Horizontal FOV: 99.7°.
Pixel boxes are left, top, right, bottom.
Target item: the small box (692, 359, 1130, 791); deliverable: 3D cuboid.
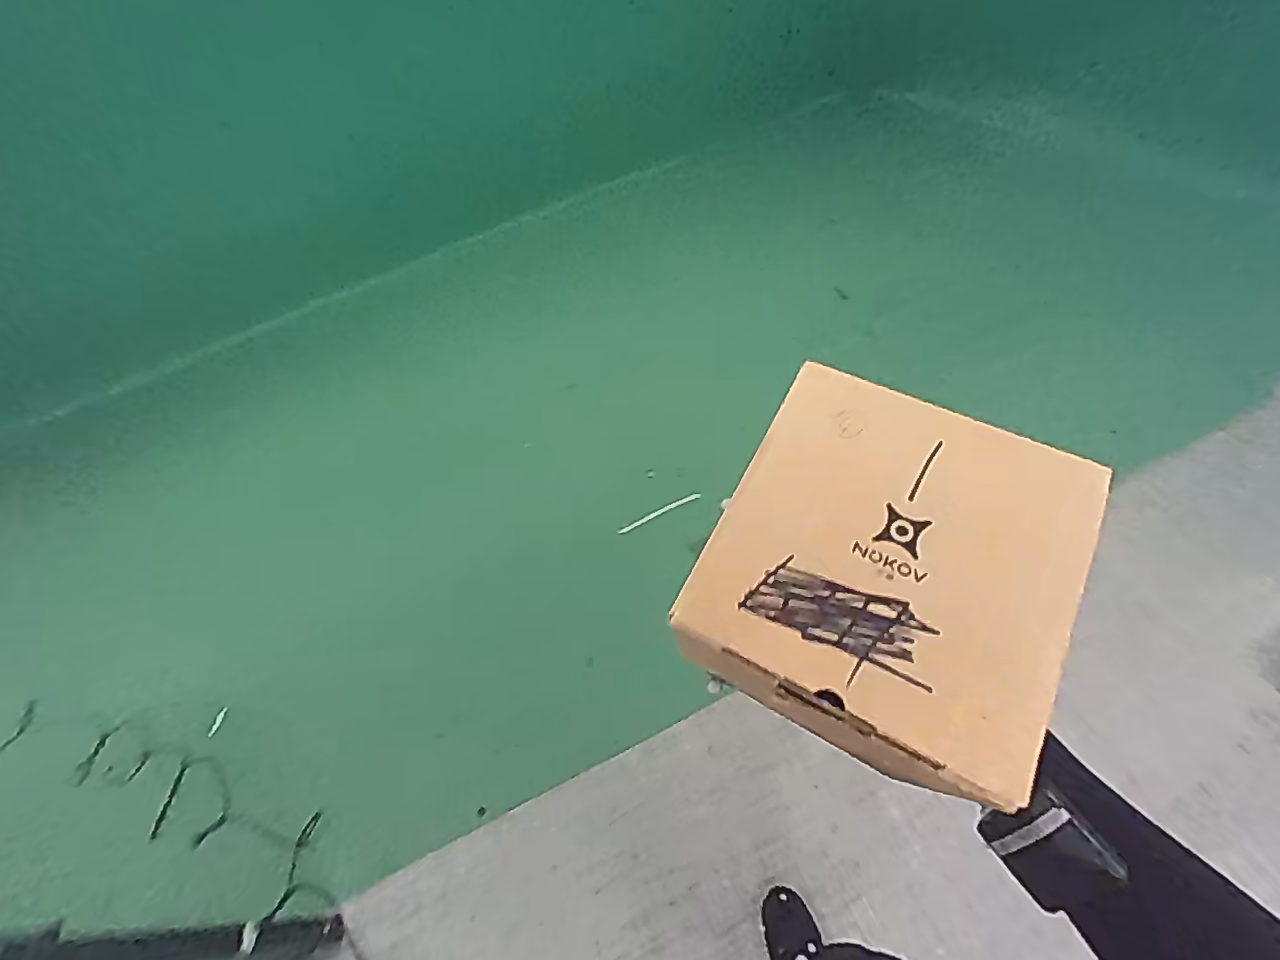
[{"bbox_3d":[0.149,0.062,0.347,0.168,0.176,0.179,26,71,18],"label":"small box"}]
